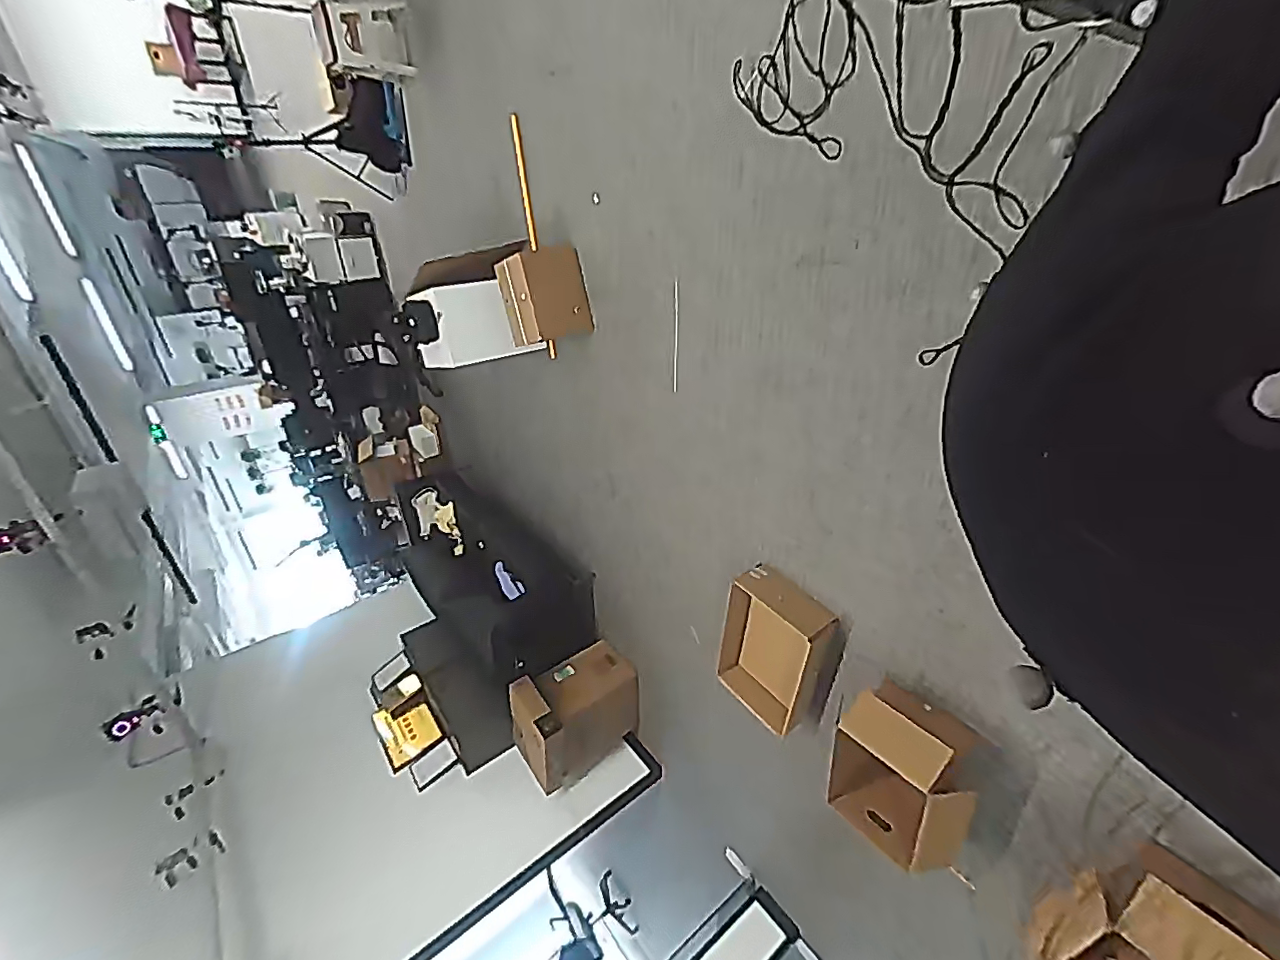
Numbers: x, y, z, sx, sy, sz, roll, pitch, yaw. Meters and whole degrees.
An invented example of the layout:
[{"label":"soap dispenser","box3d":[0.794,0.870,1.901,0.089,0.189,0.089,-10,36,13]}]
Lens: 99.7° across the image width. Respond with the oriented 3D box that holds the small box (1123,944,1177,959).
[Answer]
[{"label":"small box","box3d":[1.206,1.223,1.240,0.179,0.176,0.168,38,139,45]}]
